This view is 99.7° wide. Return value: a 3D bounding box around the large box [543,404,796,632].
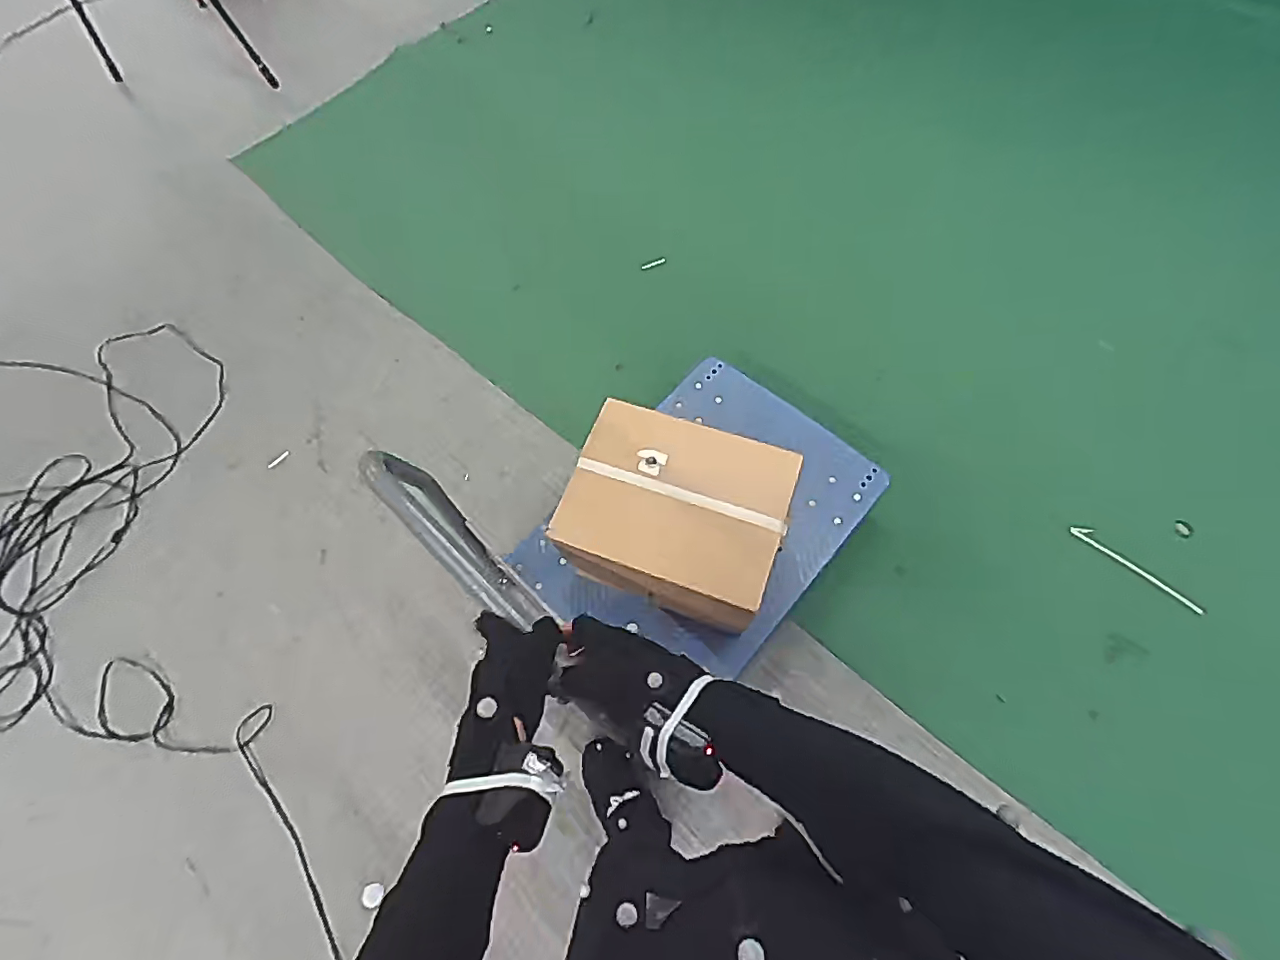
[{"bbox_3d":[0.073,0.092,1.141,0.408,0.320,0.320,19,70,13],"label":"large box"}]
